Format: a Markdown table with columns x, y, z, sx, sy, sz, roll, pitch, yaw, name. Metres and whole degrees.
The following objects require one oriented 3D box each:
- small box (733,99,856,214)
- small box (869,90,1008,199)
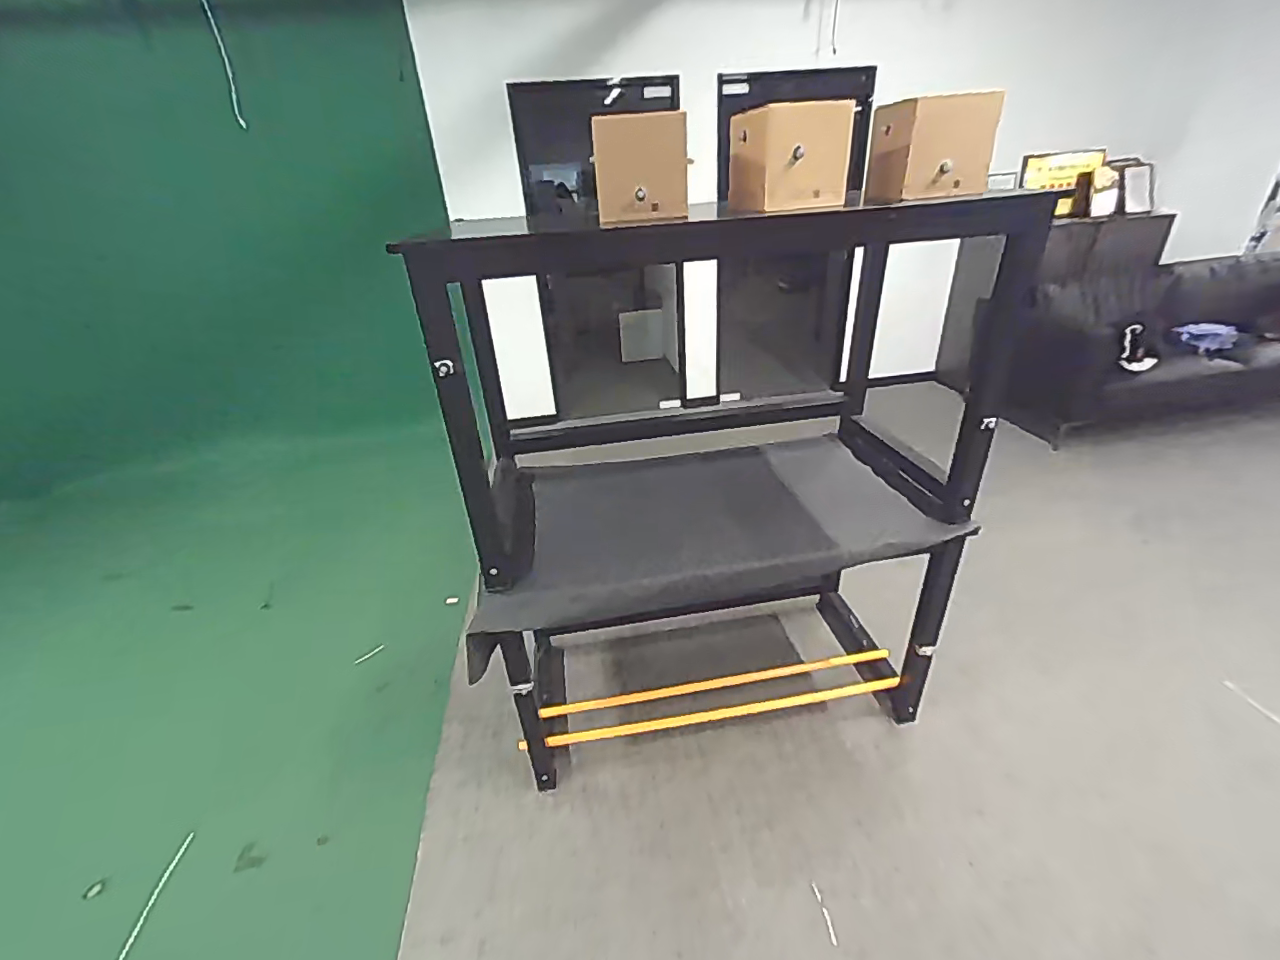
| x | y | z | sx | sy | sz | roll | pitch | yaw | name |
| --- | --- | --- | --- | --- | --- | --- | --- | --- | --- |
| 0.286 | -0.612 | 1.035 | 0.168 | 0.176 | 0.179 | -10 | 29 | -10 | small box |
| 0.575 | -0.654 | 1.069 | 0.168 | 0.176 | 0.179 | -5 | 30 | -1 | small box |
